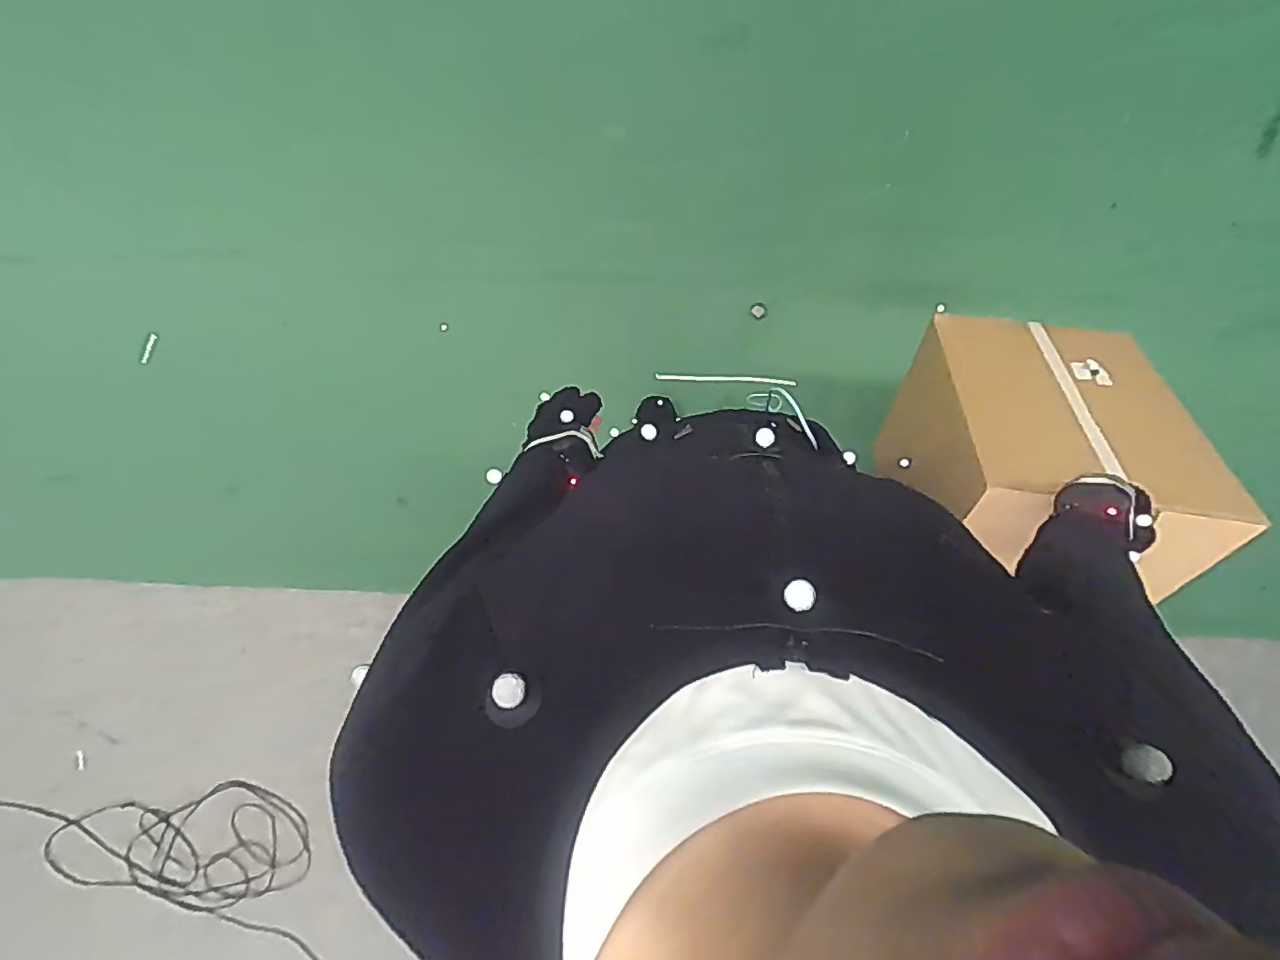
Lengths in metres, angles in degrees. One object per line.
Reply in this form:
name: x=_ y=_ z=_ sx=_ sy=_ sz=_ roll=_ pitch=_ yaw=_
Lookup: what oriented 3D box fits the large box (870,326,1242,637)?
large box: x=0.605 y=-0.006 z=0.902 sx=0.320 sy=0.408 sz=0.320 roll=9 pitch=137 yaw=6
